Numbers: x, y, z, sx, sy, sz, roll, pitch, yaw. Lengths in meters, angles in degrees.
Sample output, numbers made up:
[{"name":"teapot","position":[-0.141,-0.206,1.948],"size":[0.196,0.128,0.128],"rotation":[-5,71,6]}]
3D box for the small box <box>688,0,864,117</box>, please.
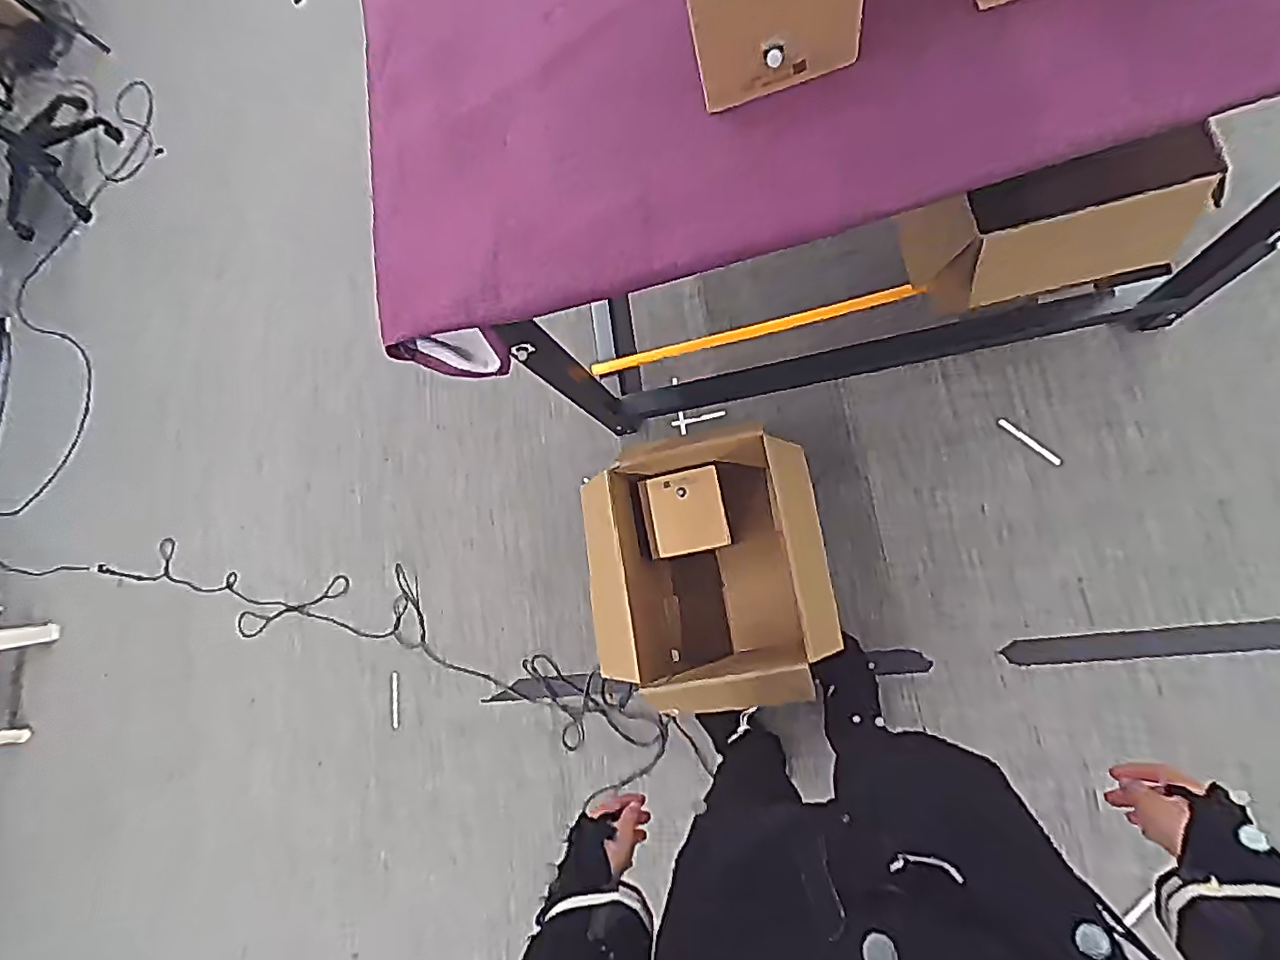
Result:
[{"name":"small box","position":[0.130,-0.533,0.560],"size":[0.168,0.176,0.179],"rotation":[-11,77,15]}]
